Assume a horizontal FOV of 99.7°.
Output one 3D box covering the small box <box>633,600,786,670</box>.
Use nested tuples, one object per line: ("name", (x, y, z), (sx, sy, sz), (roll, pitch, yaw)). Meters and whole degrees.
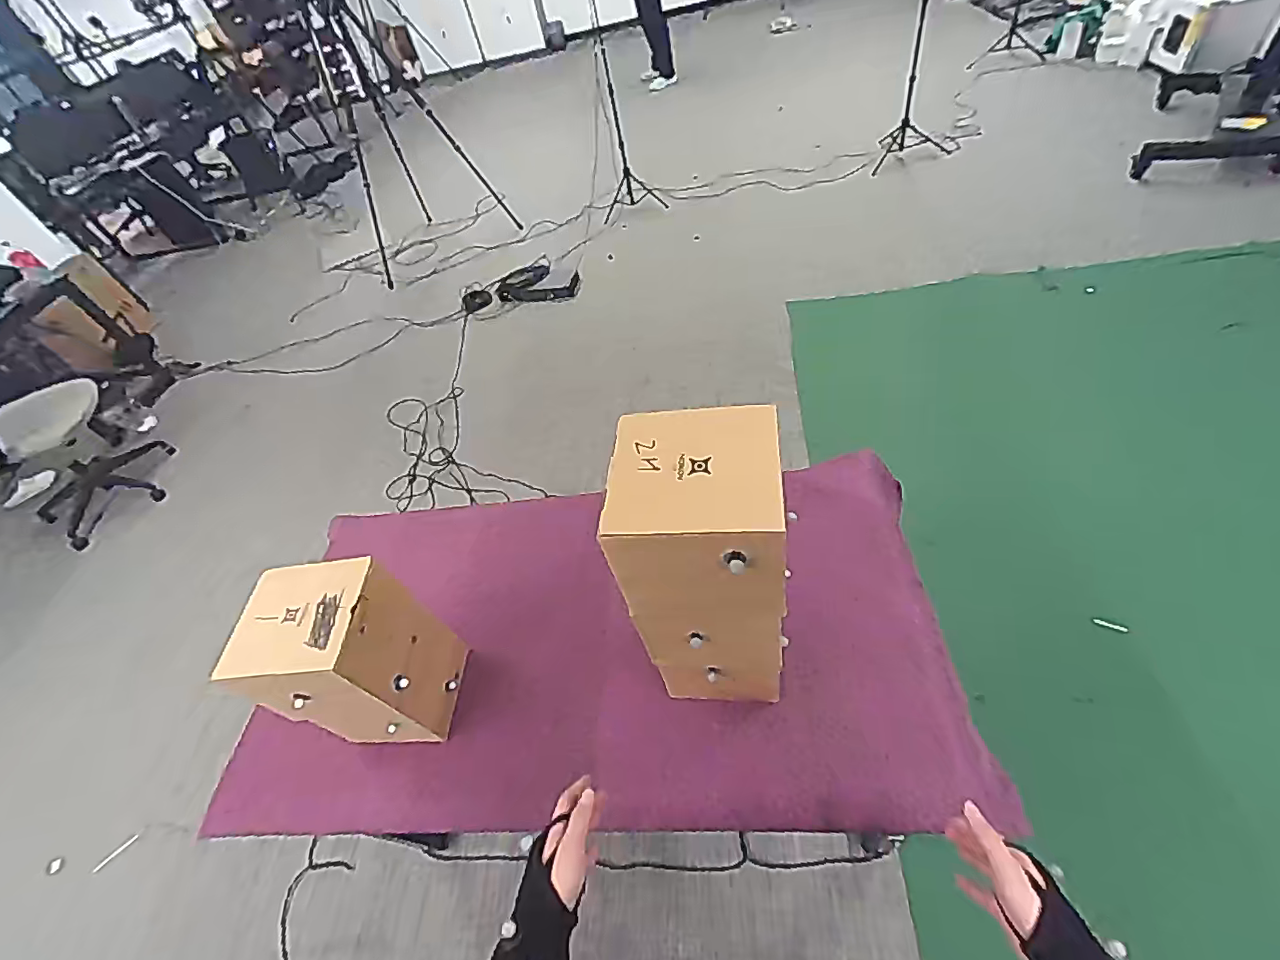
("small box", (0.102, 0.145, 0.726), (0.179, 0.176, 0.168), (-2, 50, 13))

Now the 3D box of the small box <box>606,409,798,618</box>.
("small box", (0.077, 0.042, 0.599), (0.179, 0.176, 0.168), (-2, 49, 13))

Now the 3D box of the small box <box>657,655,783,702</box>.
("small box", (0.132, 0.241, 0.856), (0.179, 0.176, 0.168), (-2, 50, 13))

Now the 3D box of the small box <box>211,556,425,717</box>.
("small box", (-0.439, 0.228, 0.775), (0.179, 0.176, 0.168), (-7, 49, 7))
